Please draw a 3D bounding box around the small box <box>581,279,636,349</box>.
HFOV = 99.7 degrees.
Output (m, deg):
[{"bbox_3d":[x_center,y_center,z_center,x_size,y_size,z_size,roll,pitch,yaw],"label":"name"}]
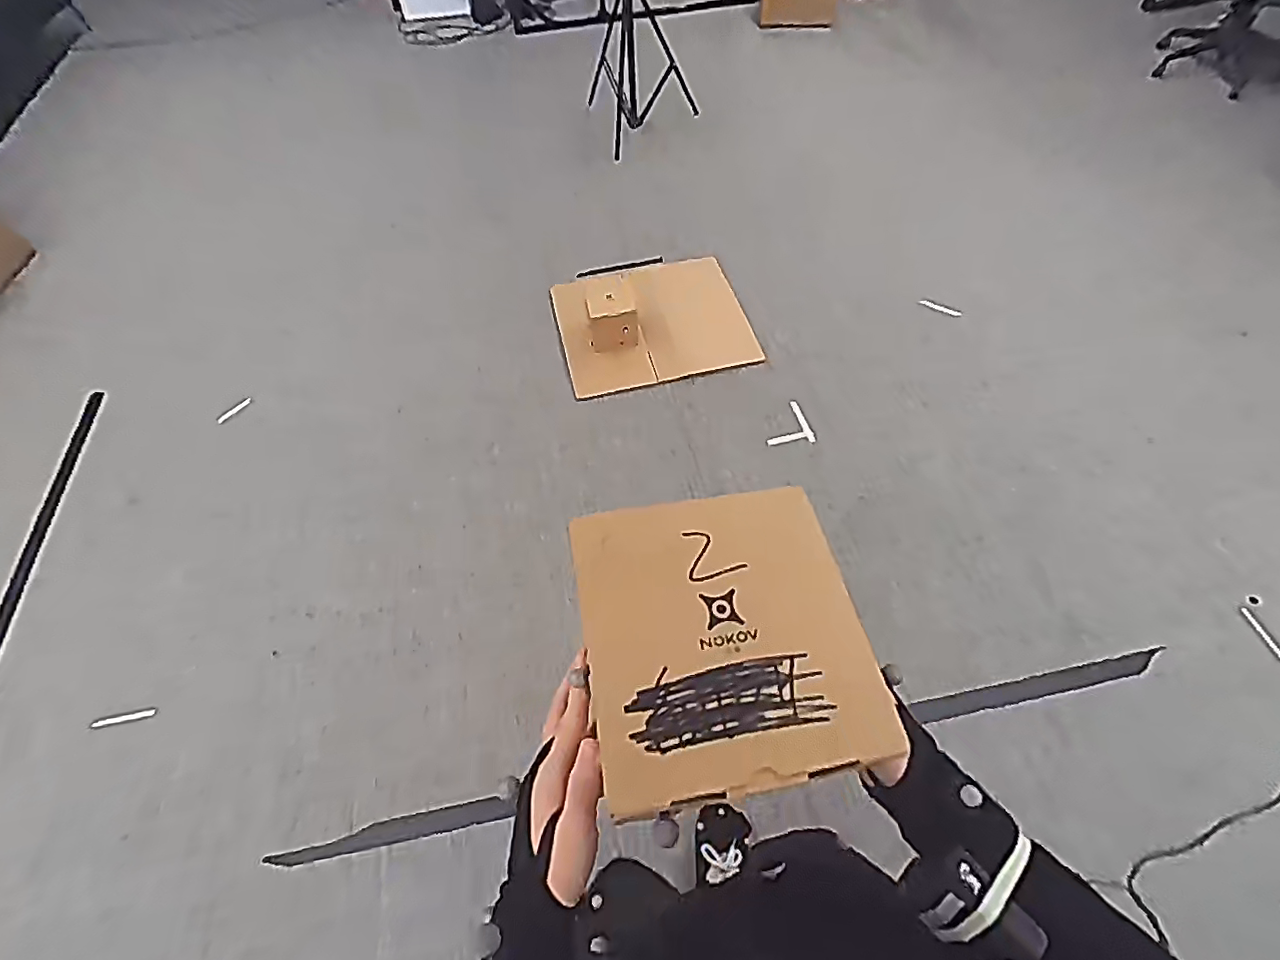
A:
[{"bbox_3d":[-0.111,-0.595,1.960,0.168,0.176,0.179,-11,58,-6],"label":"small box"}]
